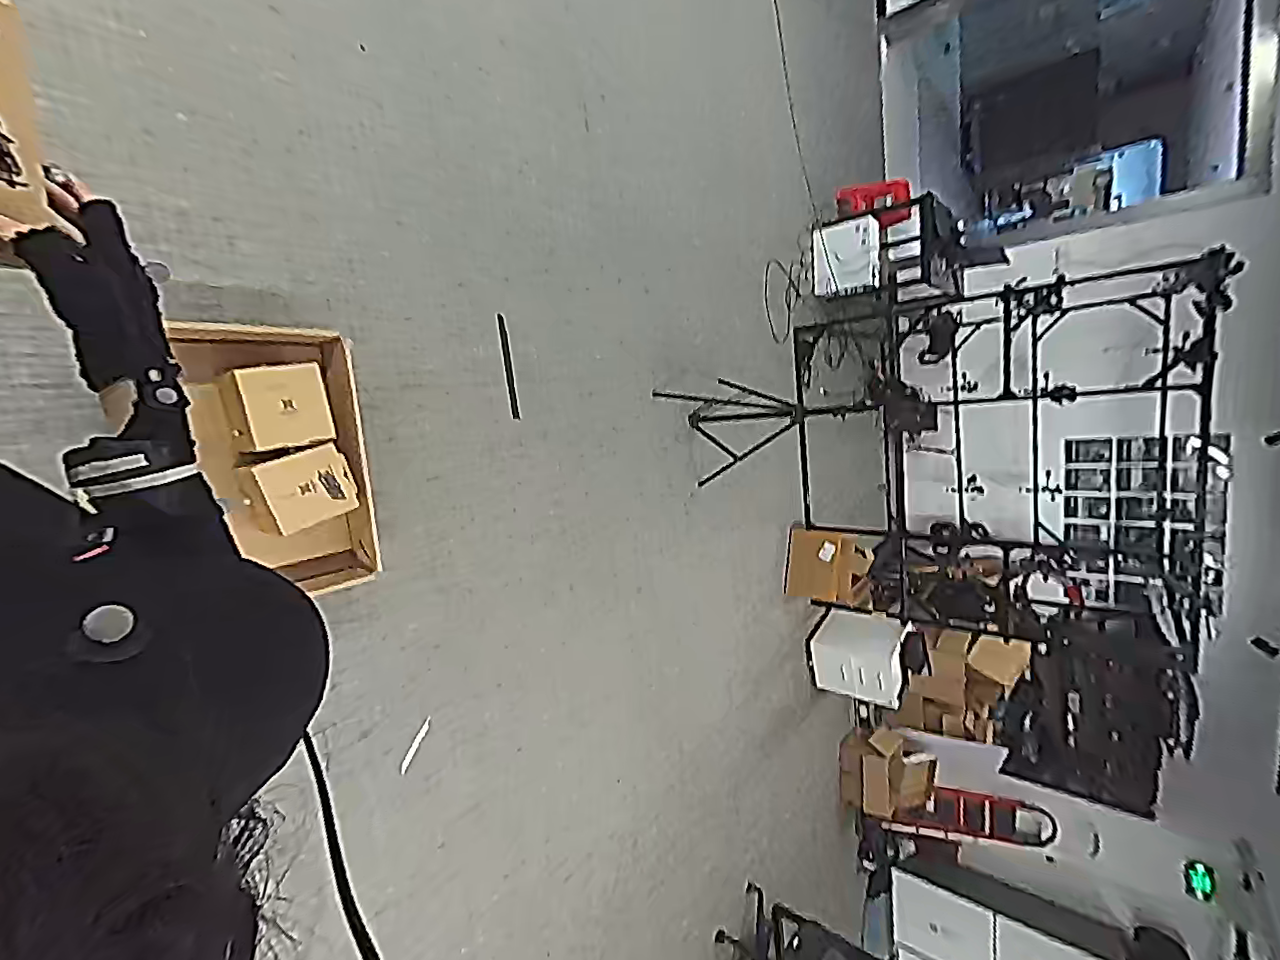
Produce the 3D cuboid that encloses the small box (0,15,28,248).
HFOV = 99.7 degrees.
[{"bbox_3d":[-0.533,-0.248,0.340,0.179,0.176,0.168,-11,109,-51],"label":"small box"}]
